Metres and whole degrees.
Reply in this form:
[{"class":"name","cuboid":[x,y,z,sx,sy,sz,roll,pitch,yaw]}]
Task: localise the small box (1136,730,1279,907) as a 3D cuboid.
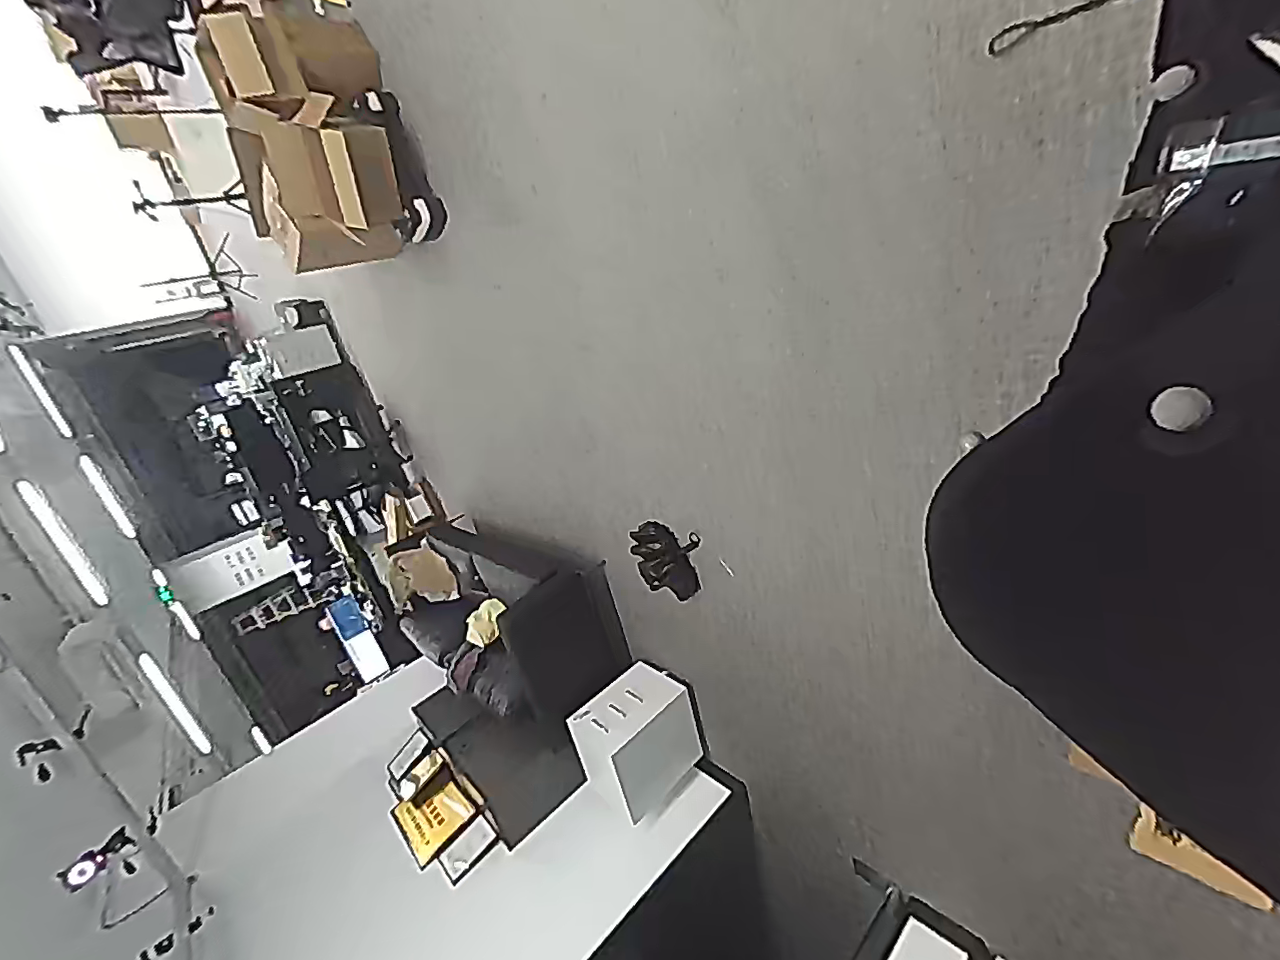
[{"class":"small box","cuboid":[1.031,0.582,0.963,0.179,0.176,0.168,16,122,46]}]
